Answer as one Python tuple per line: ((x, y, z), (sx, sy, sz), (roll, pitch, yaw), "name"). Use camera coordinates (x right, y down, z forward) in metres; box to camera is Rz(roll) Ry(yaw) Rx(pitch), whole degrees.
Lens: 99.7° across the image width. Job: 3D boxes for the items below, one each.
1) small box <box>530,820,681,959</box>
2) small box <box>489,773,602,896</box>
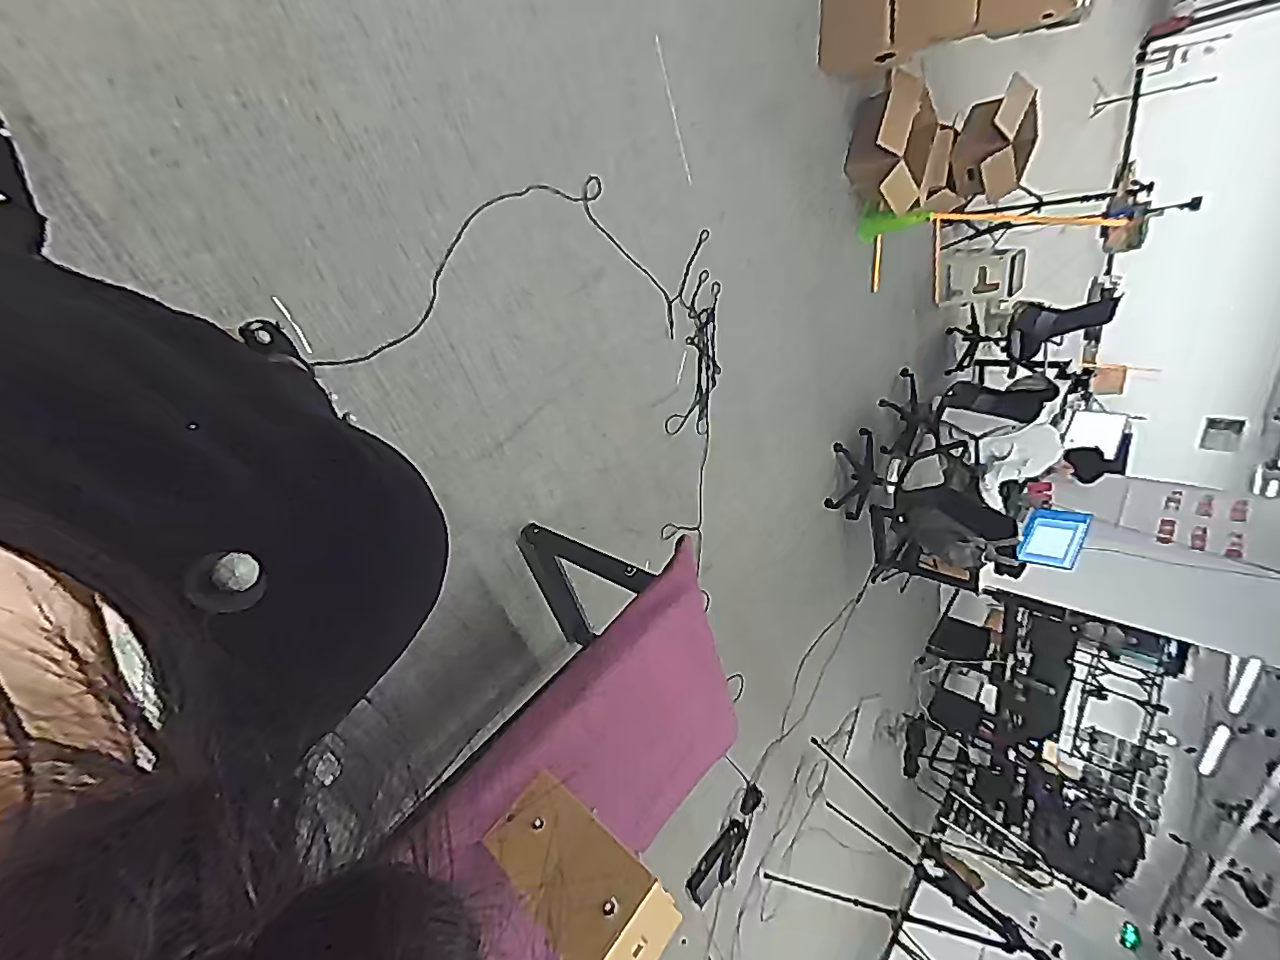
((-0.059, 0.749, 0.948), (0.179, 0.176, 0.168), (-39, 126, -30), "small box")
((-0.167, 0.719, 1.067), (0.168, 0.176, 0.179), (-39, 127, -30), "small box")
